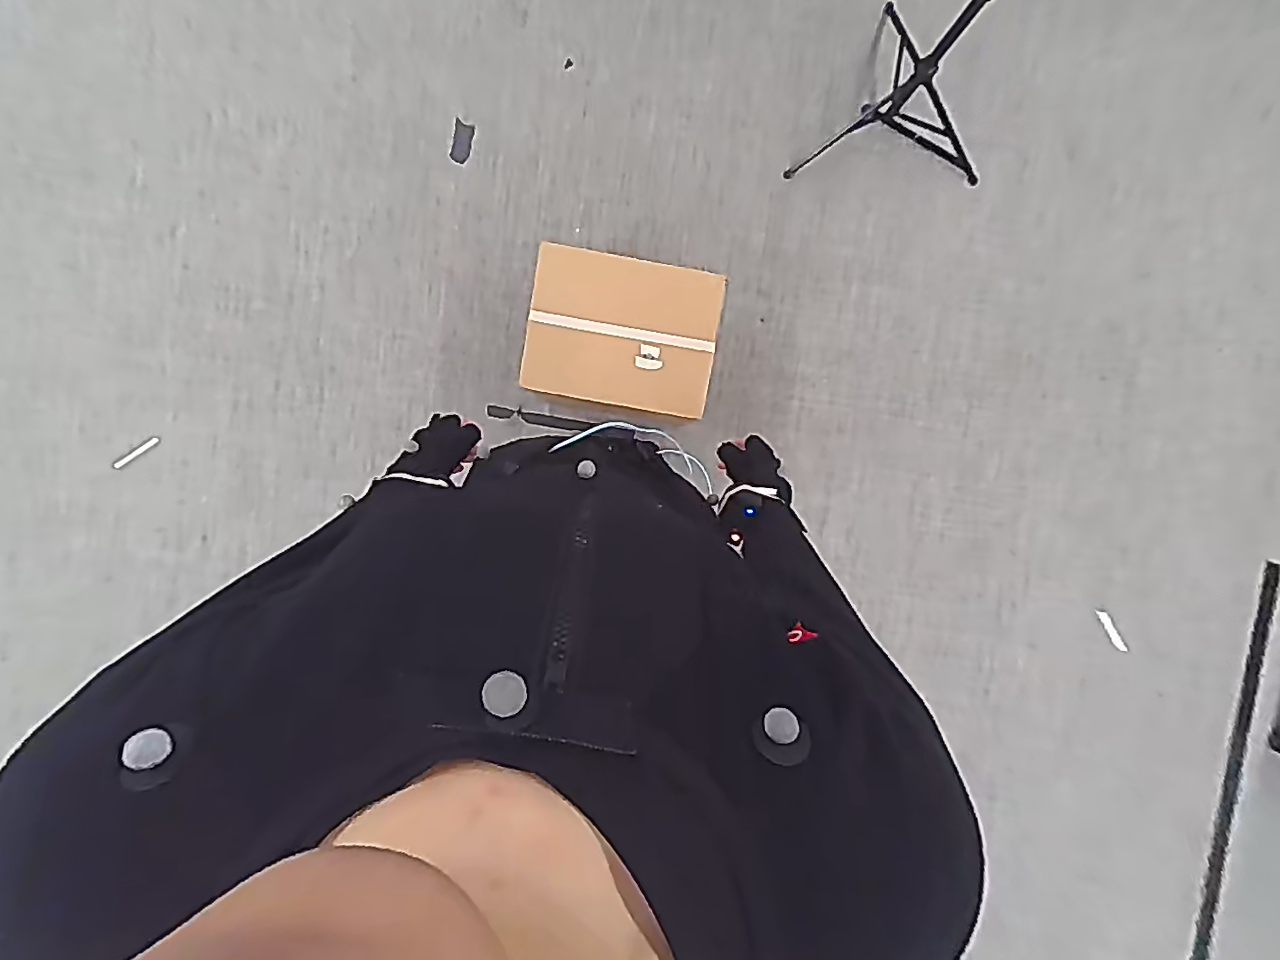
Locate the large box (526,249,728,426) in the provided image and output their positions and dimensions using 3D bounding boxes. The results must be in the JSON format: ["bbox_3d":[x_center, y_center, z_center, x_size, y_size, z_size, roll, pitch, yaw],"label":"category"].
[{"bbox_3d":[-0.034,-0.321,1.316,0.408,0.320,0.320,10,93,-2],"label":"large box"}]
